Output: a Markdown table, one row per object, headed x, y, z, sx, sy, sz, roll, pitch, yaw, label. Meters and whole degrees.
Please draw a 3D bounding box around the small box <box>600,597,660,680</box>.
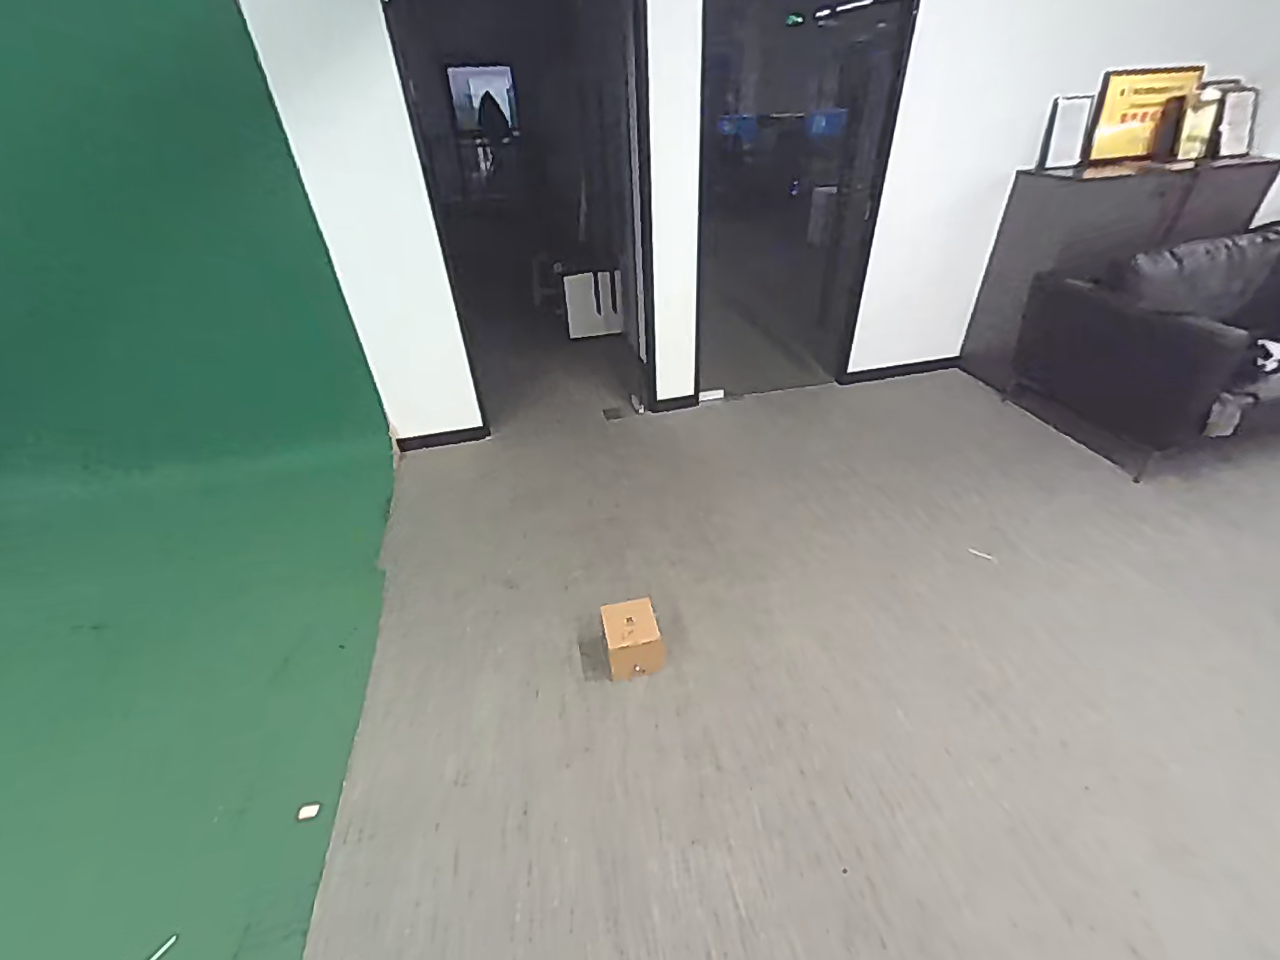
| x | y | z | sx | sy | sz | roll | pitch | yaw | label |
| --- | --- | --- | --- | --- | --- | --- | --- | --- | --- |
| -0.034 | 0.513 | 1.751 | 0.168 | 0.176 | 0.179 | -9 | 37 | -8 | small box |
